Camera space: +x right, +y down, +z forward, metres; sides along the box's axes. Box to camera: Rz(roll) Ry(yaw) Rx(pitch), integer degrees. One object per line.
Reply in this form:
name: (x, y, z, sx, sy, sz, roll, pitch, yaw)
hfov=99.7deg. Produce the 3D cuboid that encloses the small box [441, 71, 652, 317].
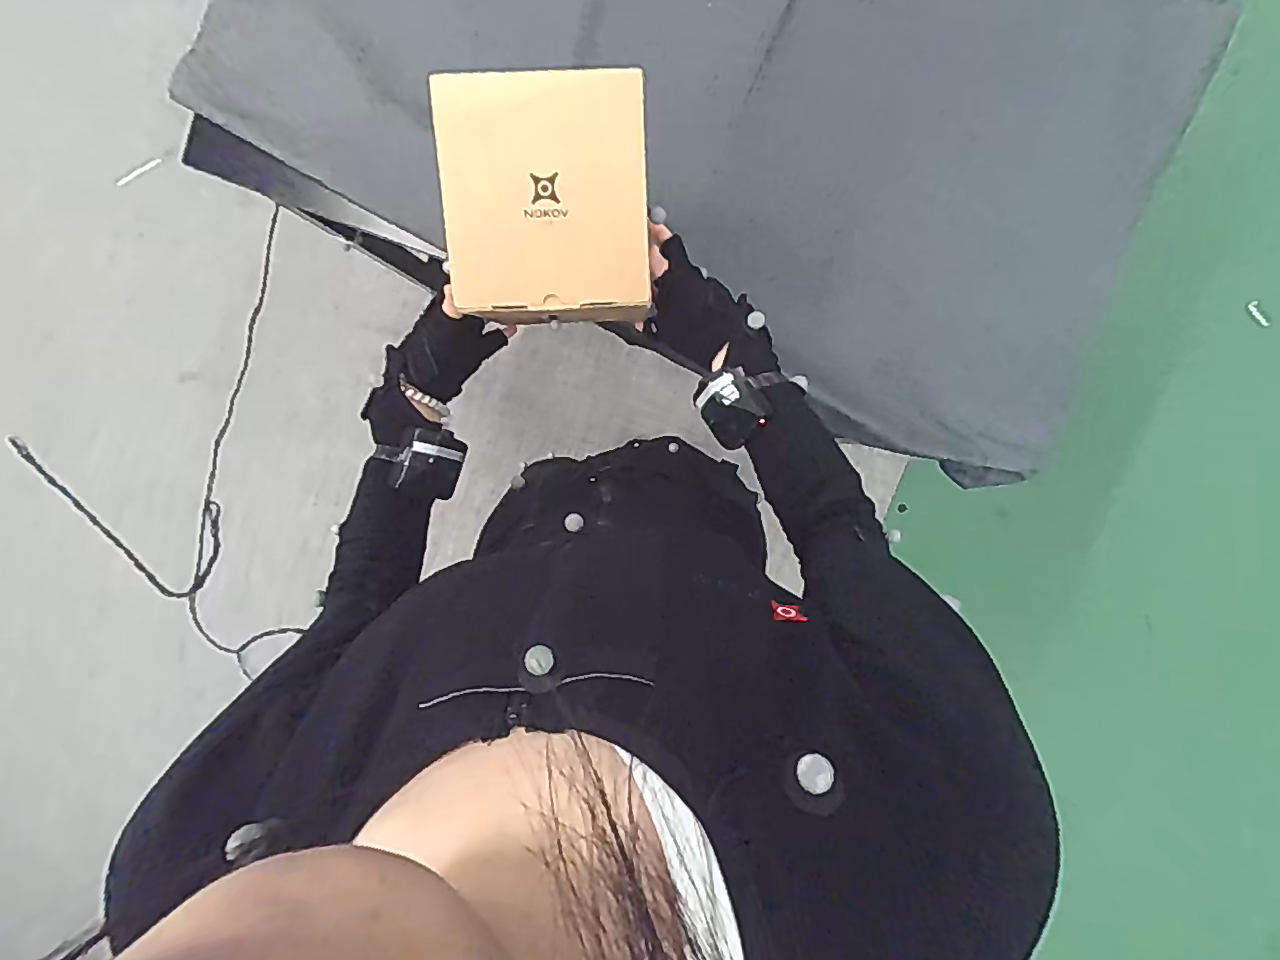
small box: (-0.077, -0.254, 0.521, 0.168, 0.176, 0.179, -2, 105, -2)
